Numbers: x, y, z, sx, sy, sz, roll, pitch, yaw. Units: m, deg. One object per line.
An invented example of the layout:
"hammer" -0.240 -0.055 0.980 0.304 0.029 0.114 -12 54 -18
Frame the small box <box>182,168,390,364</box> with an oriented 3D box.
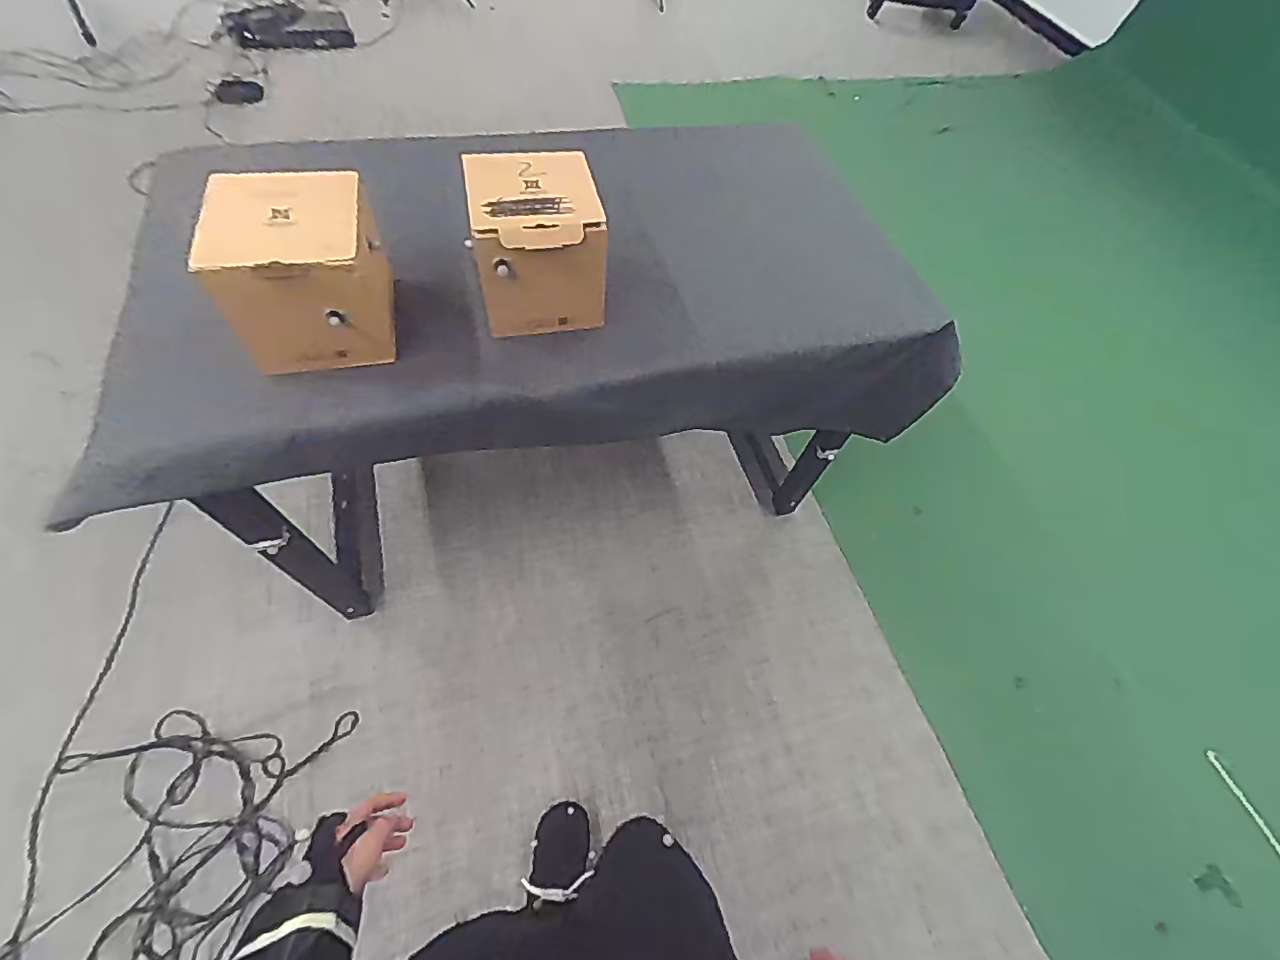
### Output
"small box" -0.424 -0.261 0.682 0.168 0.176 0.179 -9 60 -14
